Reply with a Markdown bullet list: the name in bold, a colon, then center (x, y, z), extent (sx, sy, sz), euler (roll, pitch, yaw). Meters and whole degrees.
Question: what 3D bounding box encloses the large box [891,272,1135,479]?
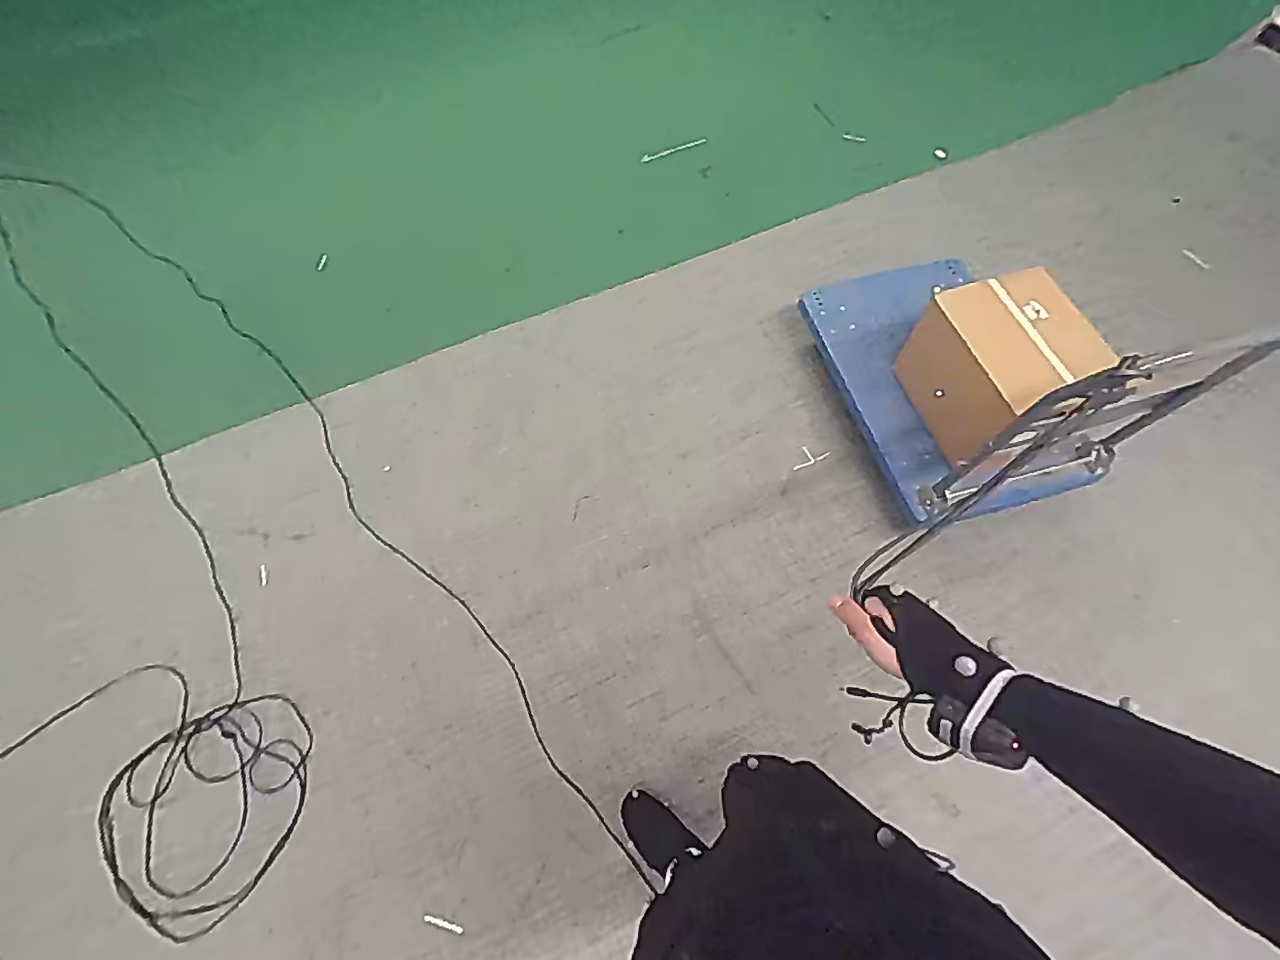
- **large box**: center (0.955, -0.274, 1.456), extent (0.320, 0.320, 0.408), euler (-15, 63, -4)
